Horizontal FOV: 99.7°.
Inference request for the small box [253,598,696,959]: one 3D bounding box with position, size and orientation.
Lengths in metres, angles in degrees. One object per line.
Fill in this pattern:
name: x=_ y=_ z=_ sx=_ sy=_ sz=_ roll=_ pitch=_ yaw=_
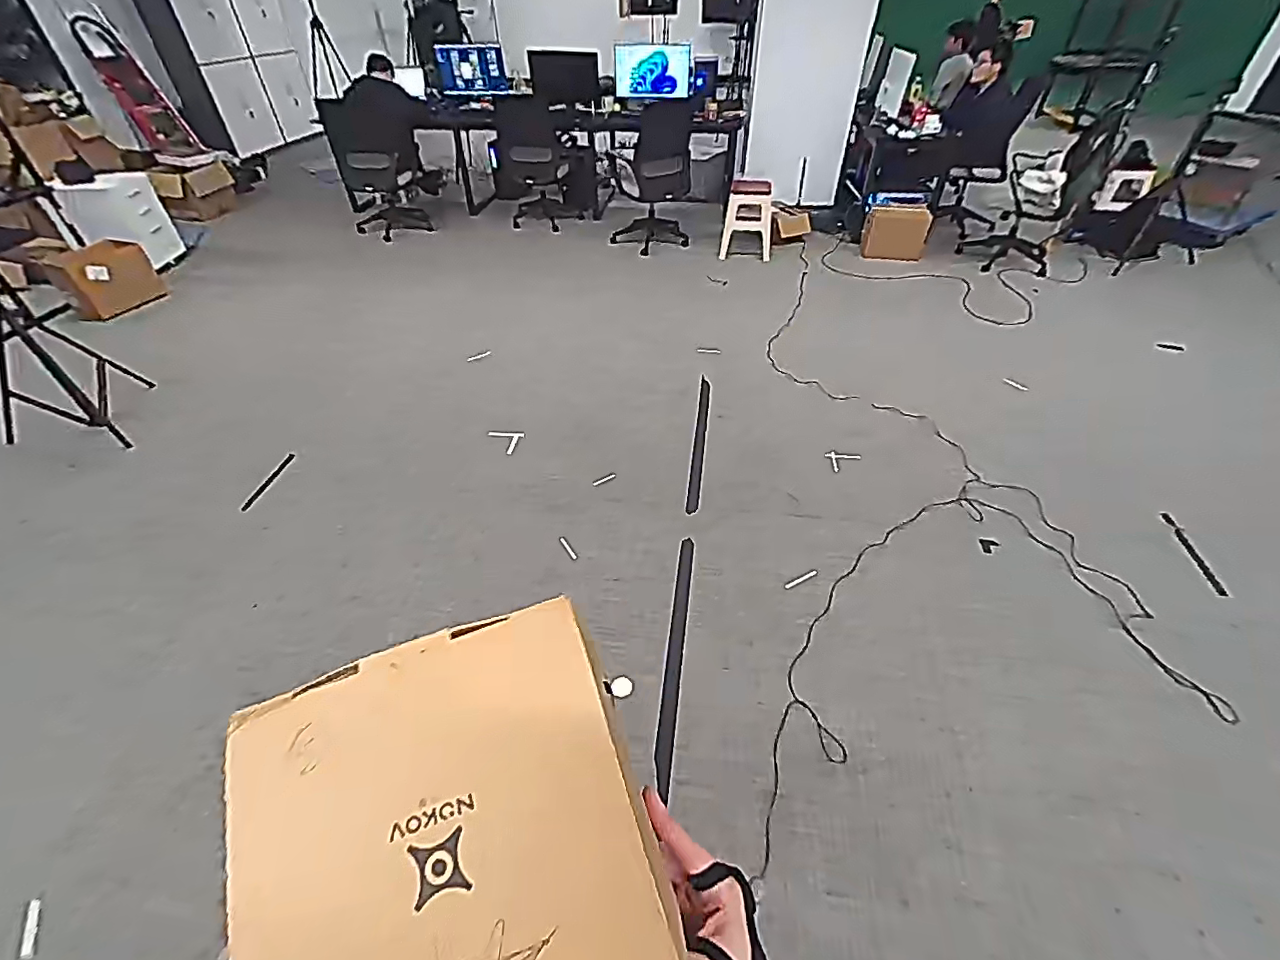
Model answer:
small box: x=-0.080 y=0.193 z=0.309 sx=0.168 sy=0.176 sz=0.179 roll=-19 pitch=66 yaw=-7
